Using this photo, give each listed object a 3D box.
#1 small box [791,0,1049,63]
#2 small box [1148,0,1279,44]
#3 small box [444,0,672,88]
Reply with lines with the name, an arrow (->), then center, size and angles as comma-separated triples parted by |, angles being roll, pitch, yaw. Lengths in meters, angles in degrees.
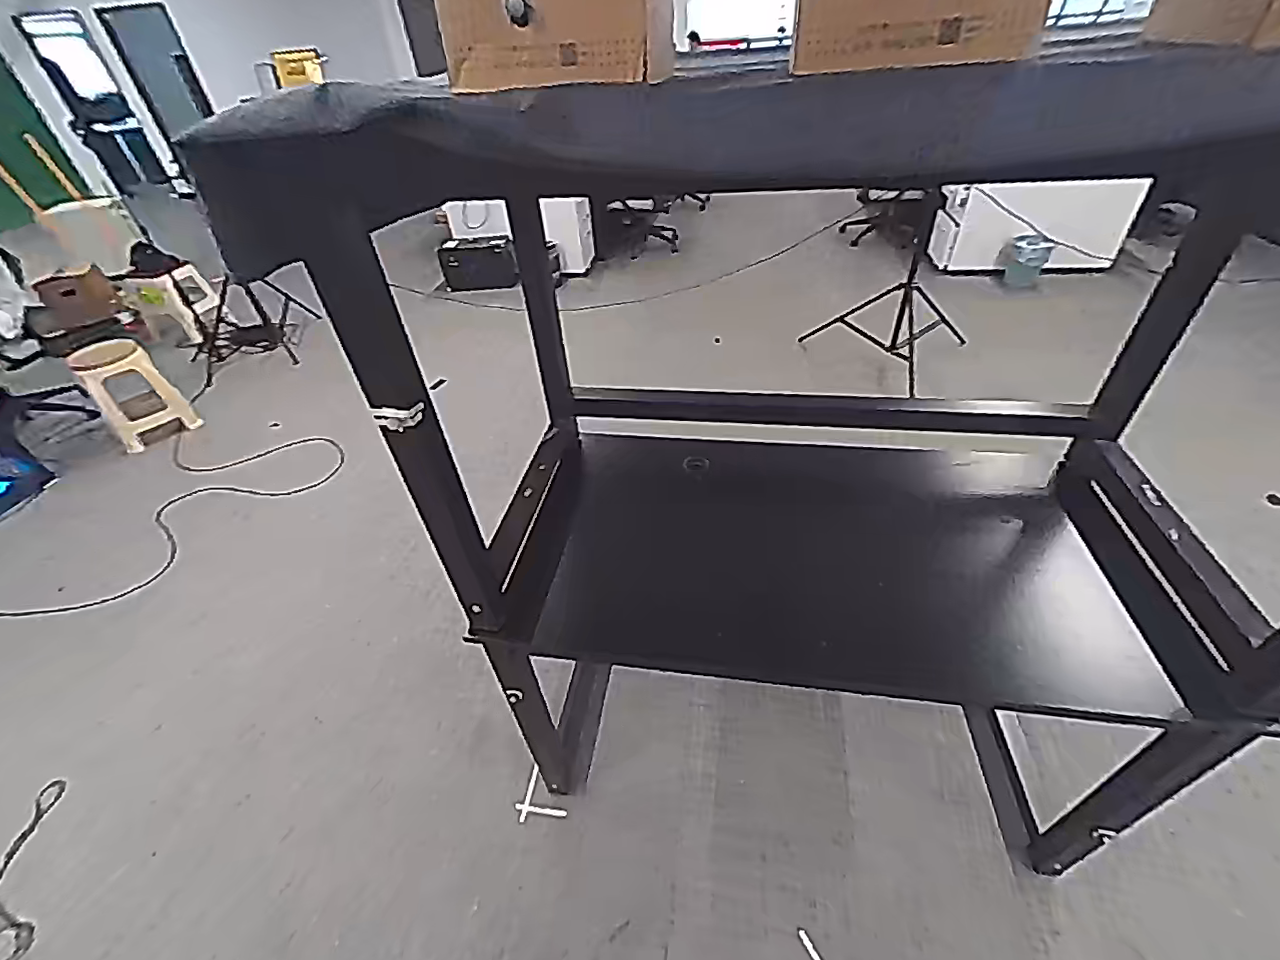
small box -> 0.206, -0.418, 0.401 | 0.168, 0.176, 0.179 | 4, 39, 11
small box -> 0.501, -0.402, 0.354 | 0.168, 0.176, 0.179 | 6, 39, 13
small box -> -0.063, -0.432, 0.446 | 0.168, 0.176, 0.179 | 4, 39, 9
